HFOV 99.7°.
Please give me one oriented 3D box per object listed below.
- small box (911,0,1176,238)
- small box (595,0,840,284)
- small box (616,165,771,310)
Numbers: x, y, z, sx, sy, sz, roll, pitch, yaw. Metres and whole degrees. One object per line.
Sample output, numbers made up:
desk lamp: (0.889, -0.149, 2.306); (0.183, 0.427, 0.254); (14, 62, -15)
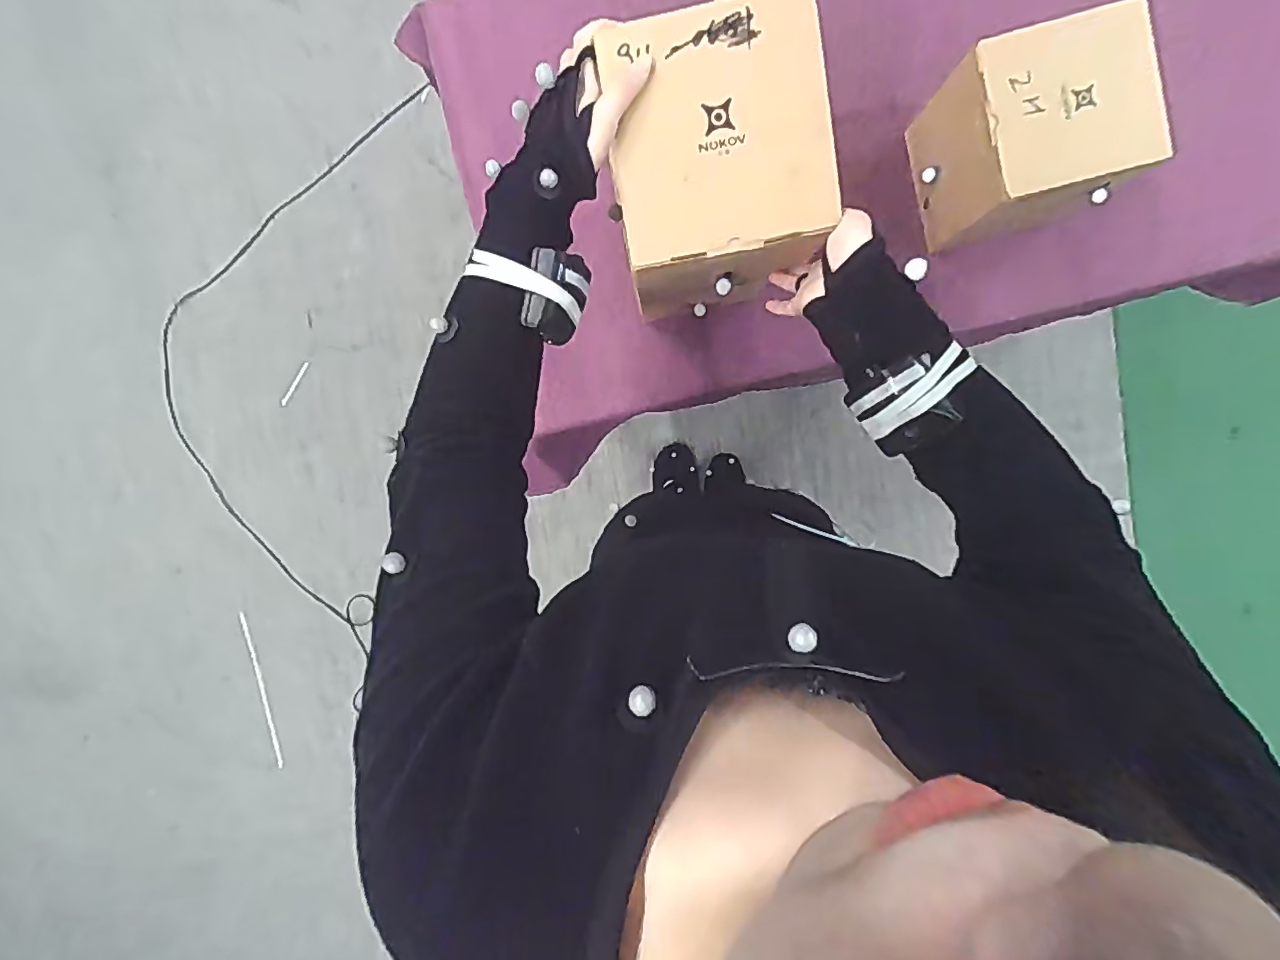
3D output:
small box: (0.454, -0.411, 0.634); (0.179, 0.176, 0.168); (-13, 94, 4)
small box: (0.066, -0.282, 0.483); (0.168, 0.176, 0.179); (-9, 101, 5)
small box: (0.065, -0.326, 0.660); (0.168, 0.176, 0.179); (-12, 96, 4)
